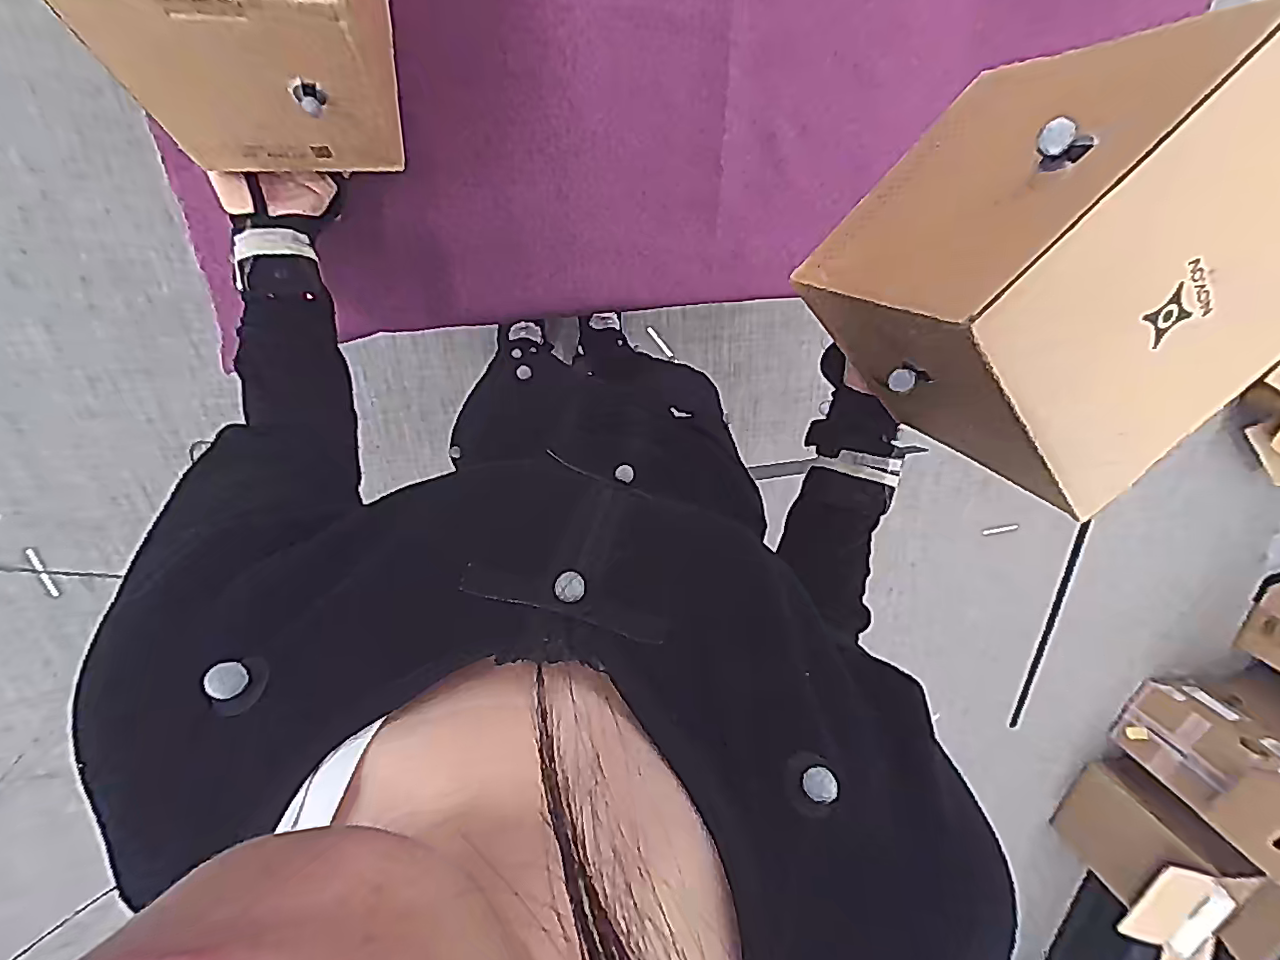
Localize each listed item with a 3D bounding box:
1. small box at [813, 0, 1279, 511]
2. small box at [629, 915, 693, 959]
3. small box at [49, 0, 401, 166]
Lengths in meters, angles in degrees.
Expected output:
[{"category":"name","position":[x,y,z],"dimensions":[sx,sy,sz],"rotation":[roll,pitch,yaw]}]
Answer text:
[{"category":"small box","position":[0.234,-0.120,0.330],"dimensions":[0.168,0.176,0.179],"rotation":[39,100,-28]},{"category":"small box","position":[0.063,1.522,1.713],"dimensions":[0.168,0.176,0.179],"rotation":[-4,114,-14]},{"category":"small box","position":[-0.286,-0.363,0.399],"dimensions":[0.168,0.176,0.179],"rotation":[-7,85,-12]}]
